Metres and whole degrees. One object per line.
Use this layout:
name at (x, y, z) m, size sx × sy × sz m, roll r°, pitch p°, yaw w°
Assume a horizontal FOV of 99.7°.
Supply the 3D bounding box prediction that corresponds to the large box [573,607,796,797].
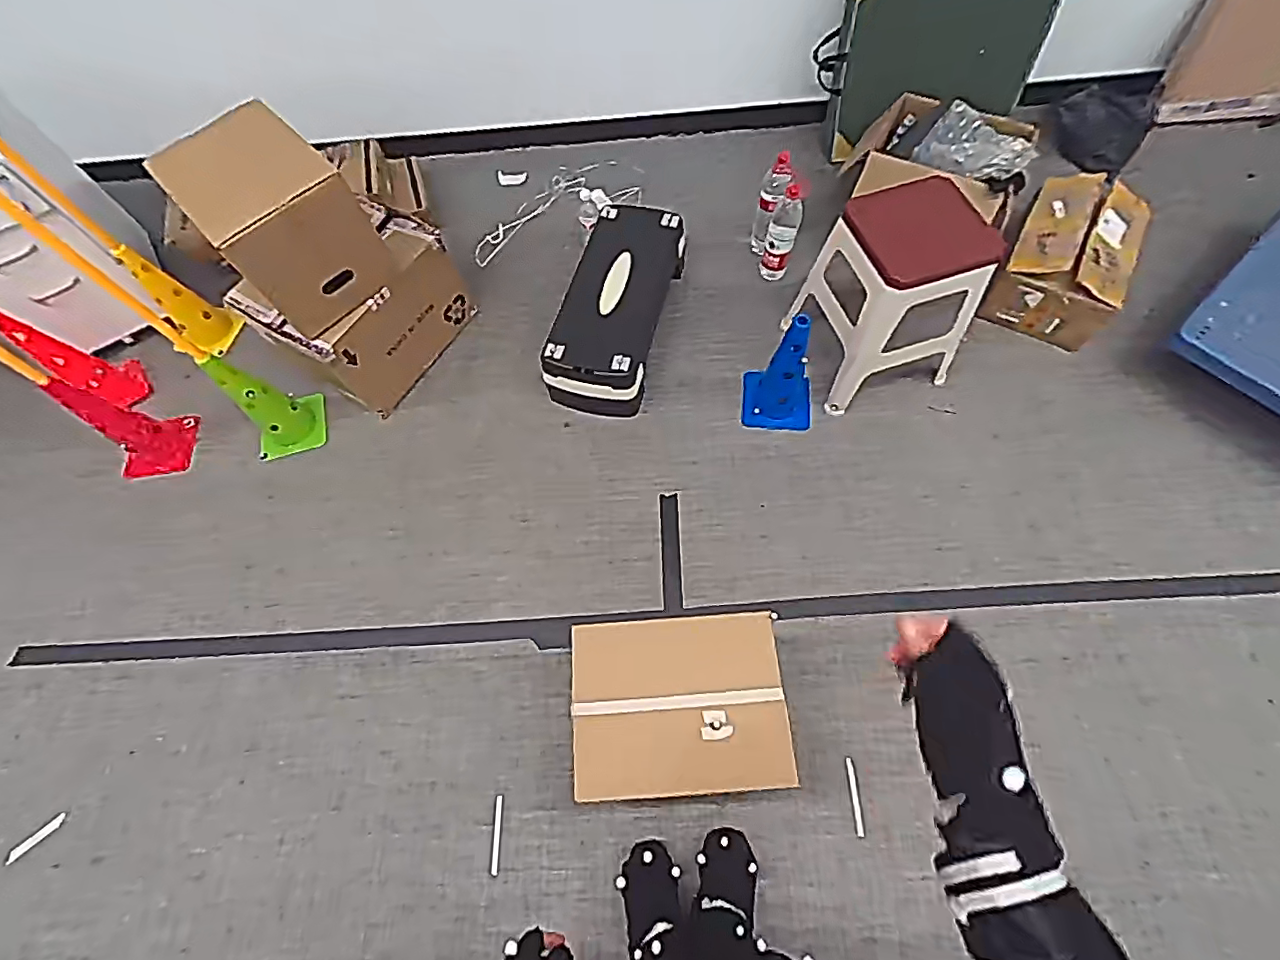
large box at (0.077, 0.476, 1.170) m, size 0.408 × 0.320 × 0.320 m, roll -4°, pitch 66°, yaw 0°
